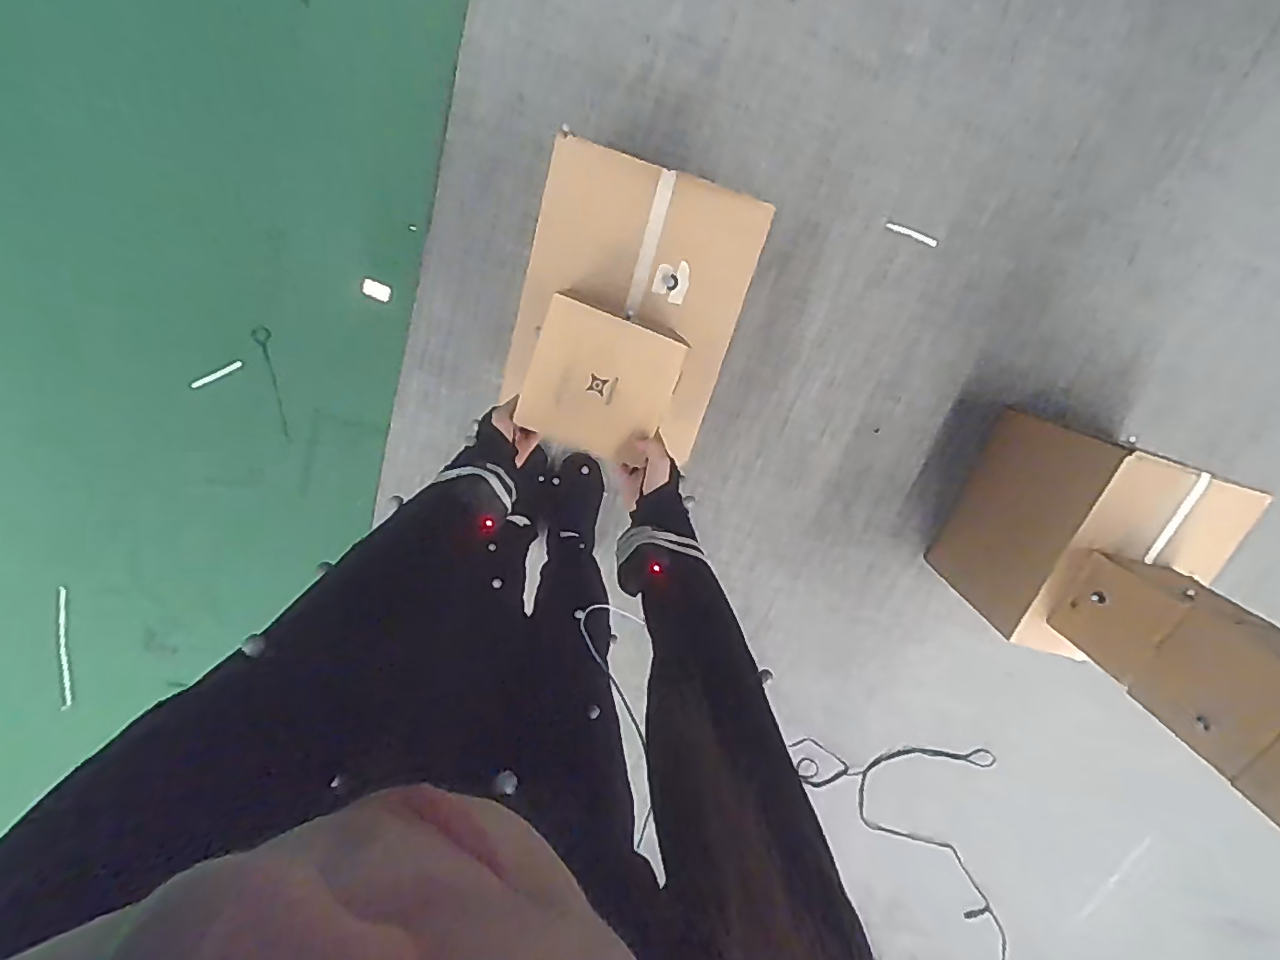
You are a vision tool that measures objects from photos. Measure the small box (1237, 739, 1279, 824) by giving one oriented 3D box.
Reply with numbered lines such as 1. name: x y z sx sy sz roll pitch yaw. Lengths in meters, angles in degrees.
1. small box: 0.892 0.385 0.631 0.168 0.176 0.179 17 112 -8

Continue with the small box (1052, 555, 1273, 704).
1. small box: 0.879 0.250 0.931 0.179 0.176 0.168 14 111 -7

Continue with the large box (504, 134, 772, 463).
1. large box: -0.018 -0.291 0.934 0.320 0.320 0.408 15 109 -8

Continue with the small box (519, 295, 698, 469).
1. small box: -0.043 -0.141 0.727 0.179 0.176 0.168 20 108 -9
